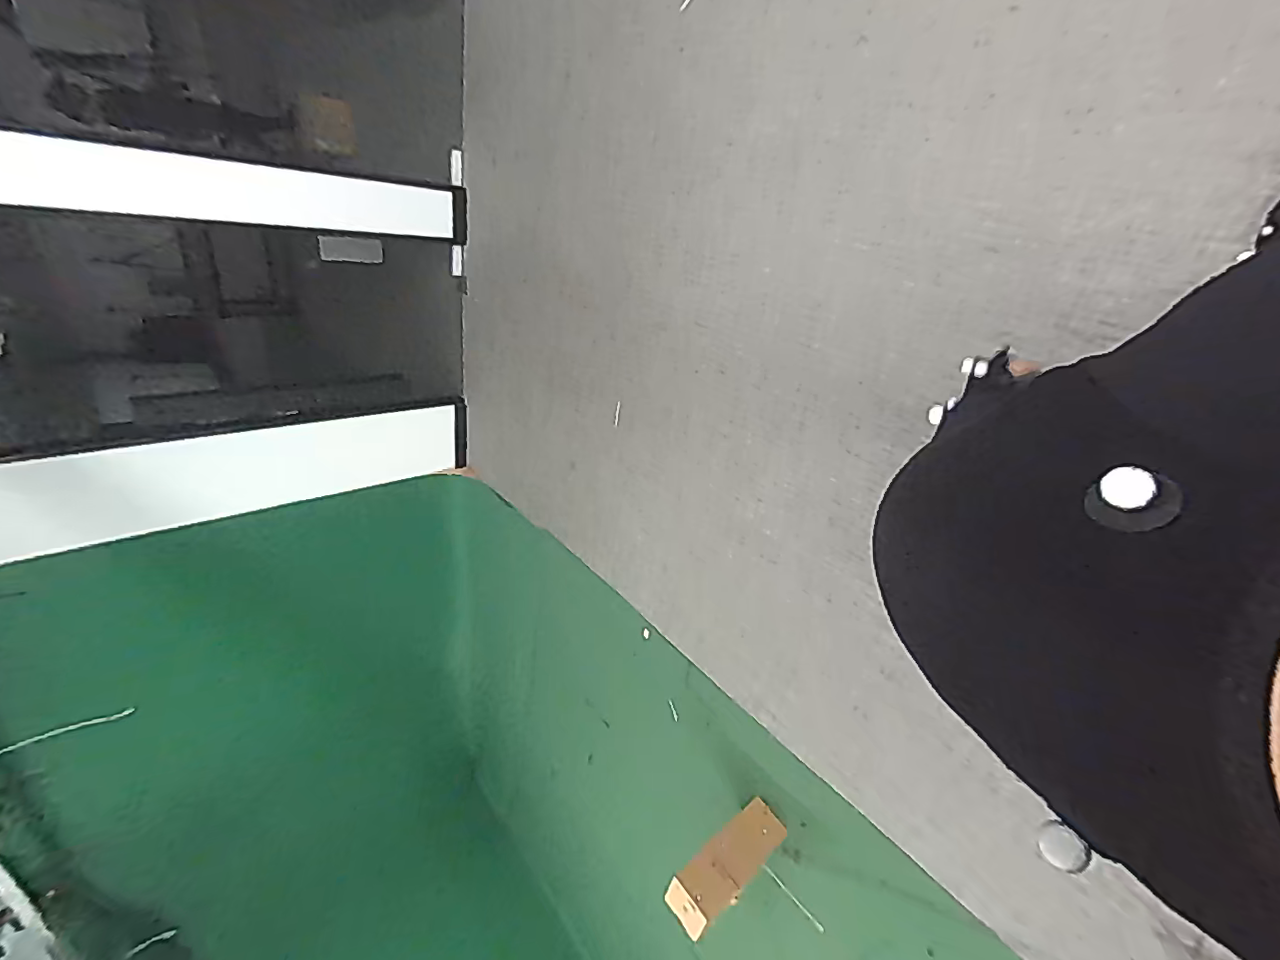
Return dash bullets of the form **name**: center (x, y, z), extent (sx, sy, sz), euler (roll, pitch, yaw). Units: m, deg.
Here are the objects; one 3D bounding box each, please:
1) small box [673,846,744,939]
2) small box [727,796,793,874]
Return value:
- **small box**: center (0.247, 1.471, 1.935), extent (0.168, 0.176, 0.179), euler (38, 129, 36)
- **small box**: center (0.483, 1.407, 2.154), extent (0.168, 0.176, 0.179), euler (41, 130, 33)
